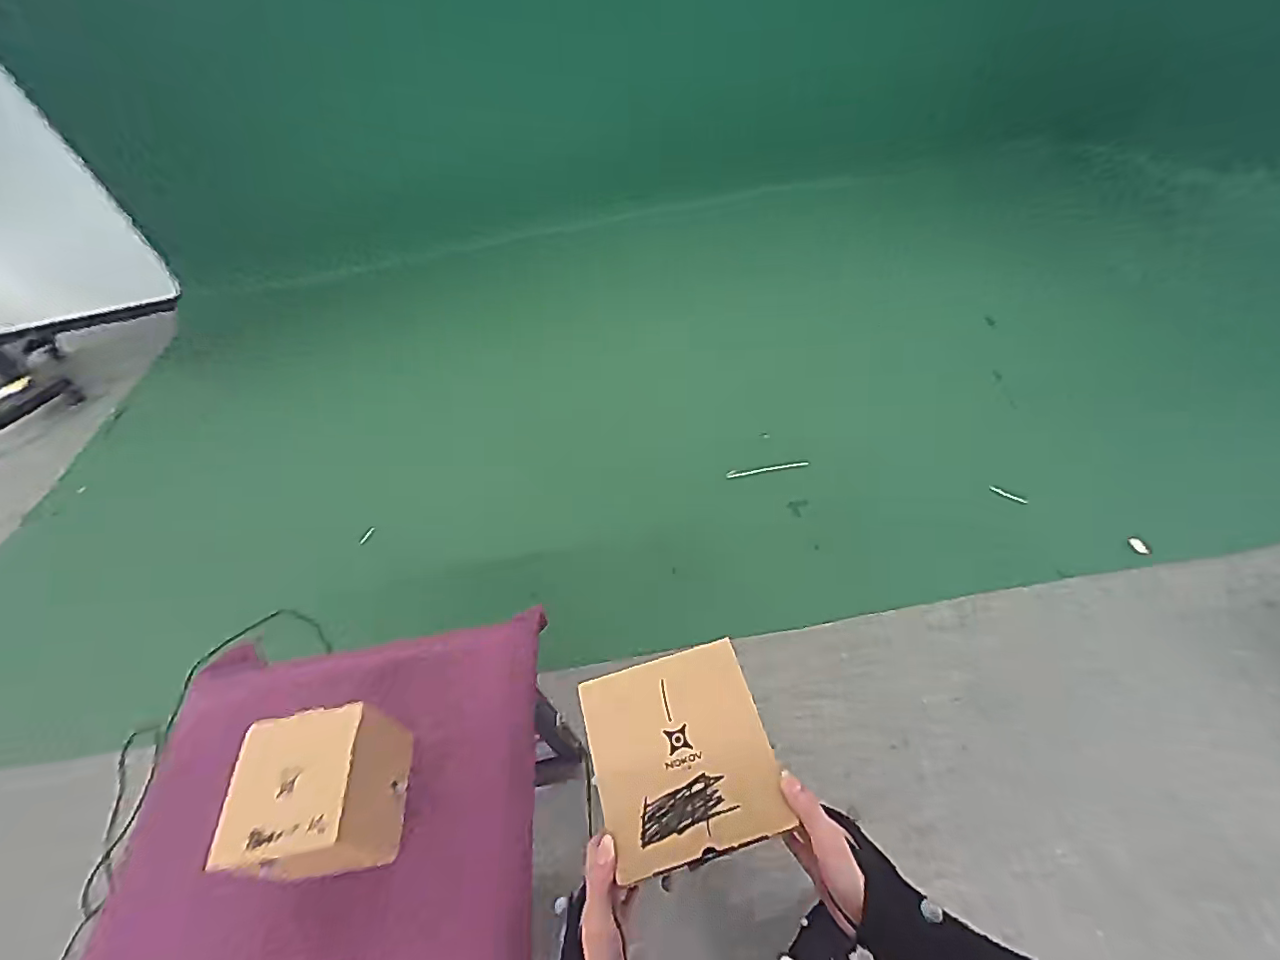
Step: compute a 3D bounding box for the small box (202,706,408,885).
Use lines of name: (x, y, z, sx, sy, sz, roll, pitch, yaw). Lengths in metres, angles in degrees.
small box: (-0.451, 0.448, 0.766, 0.168, 0.176, 0.179, -11, 49, 1)

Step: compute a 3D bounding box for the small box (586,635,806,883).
small box: (0.052, 0.291, 0.566, 0.168, 0.176, 0.179, -15, 54, -5)
